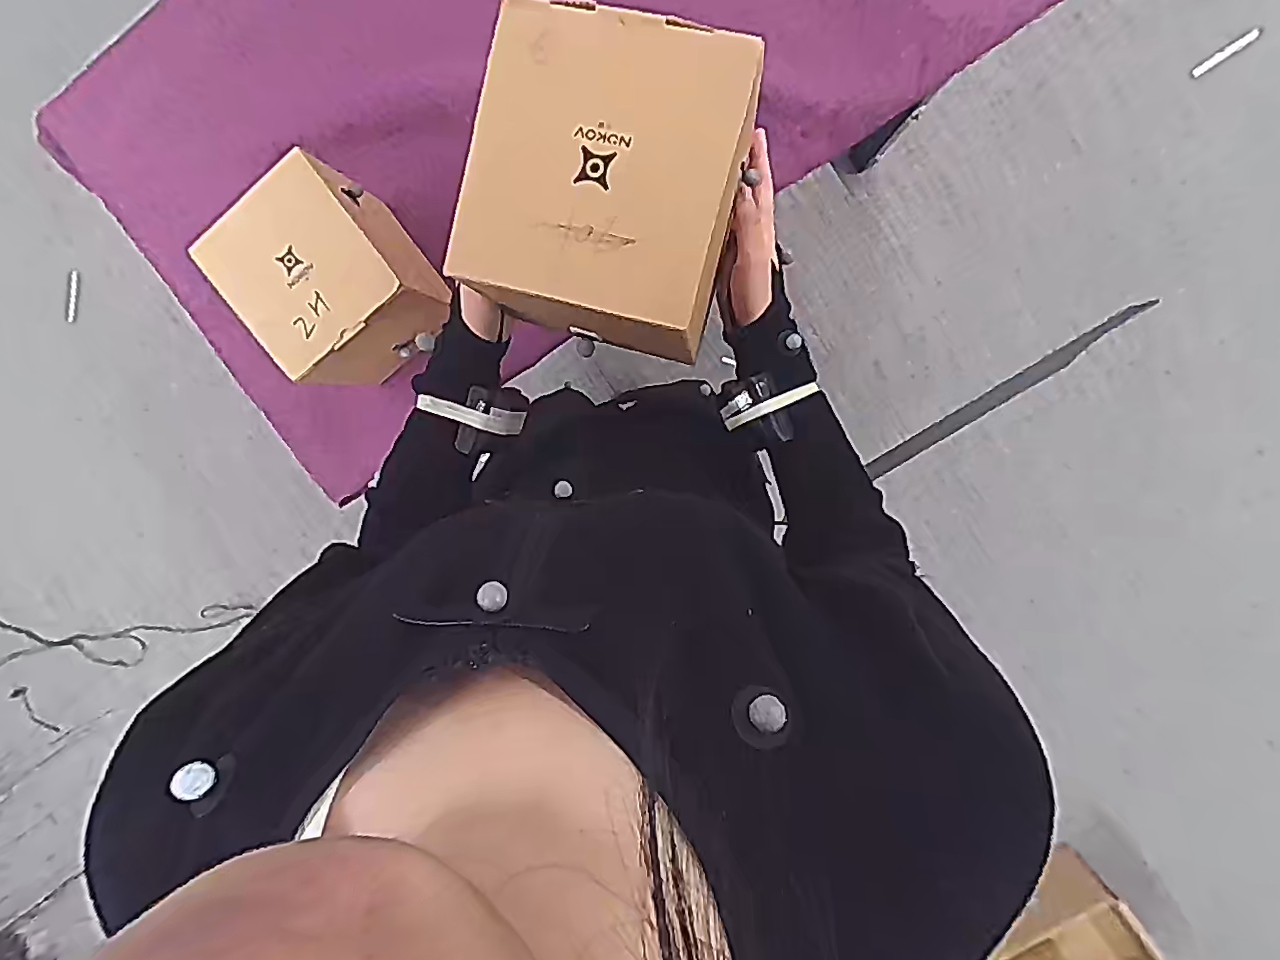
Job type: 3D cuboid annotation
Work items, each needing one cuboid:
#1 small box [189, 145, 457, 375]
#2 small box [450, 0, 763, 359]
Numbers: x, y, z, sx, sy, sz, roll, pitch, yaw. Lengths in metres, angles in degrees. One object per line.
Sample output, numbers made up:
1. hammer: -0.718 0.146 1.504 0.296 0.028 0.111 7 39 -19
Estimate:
1. small box: -0.356 -0.239 0.643 0.168 0.176 0.179 -36 96 9
2. small box: -0.016 -0.206 0.416 0.168 0.176 0.179 16 97 6
